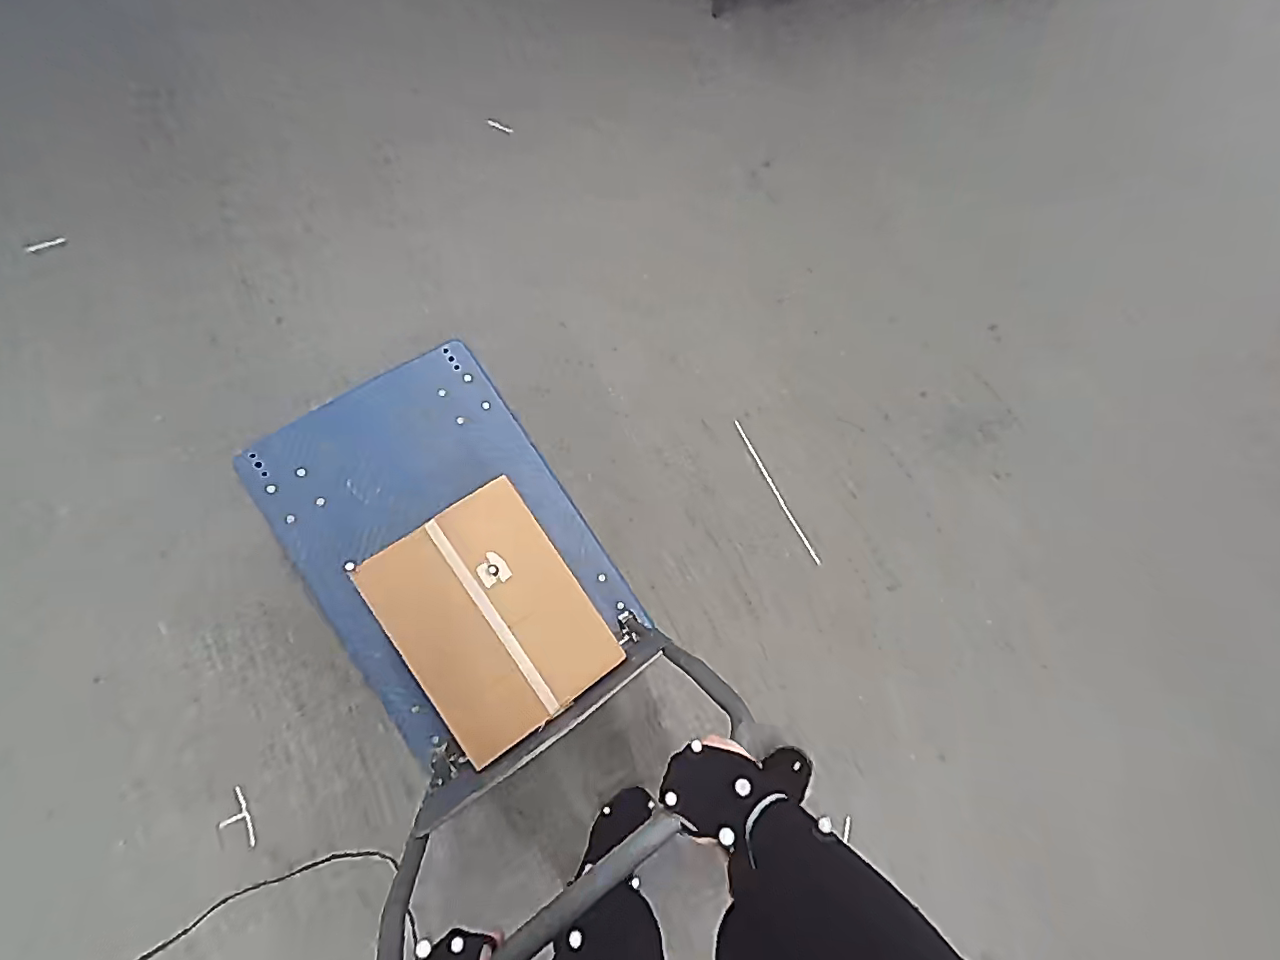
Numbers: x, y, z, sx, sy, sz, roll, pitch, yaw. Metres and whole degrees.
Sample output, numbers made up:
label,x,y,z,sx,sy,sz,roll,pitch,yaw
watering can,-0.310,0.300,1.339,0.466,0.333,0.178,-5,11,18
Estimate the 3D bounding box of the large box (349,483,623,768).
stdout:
label,x,y,z,sx,sy,sz,roll,pitch,yaw
large box,-0.287,0.273,1.097,0.320,0.320,0.408,-35,87,-15
